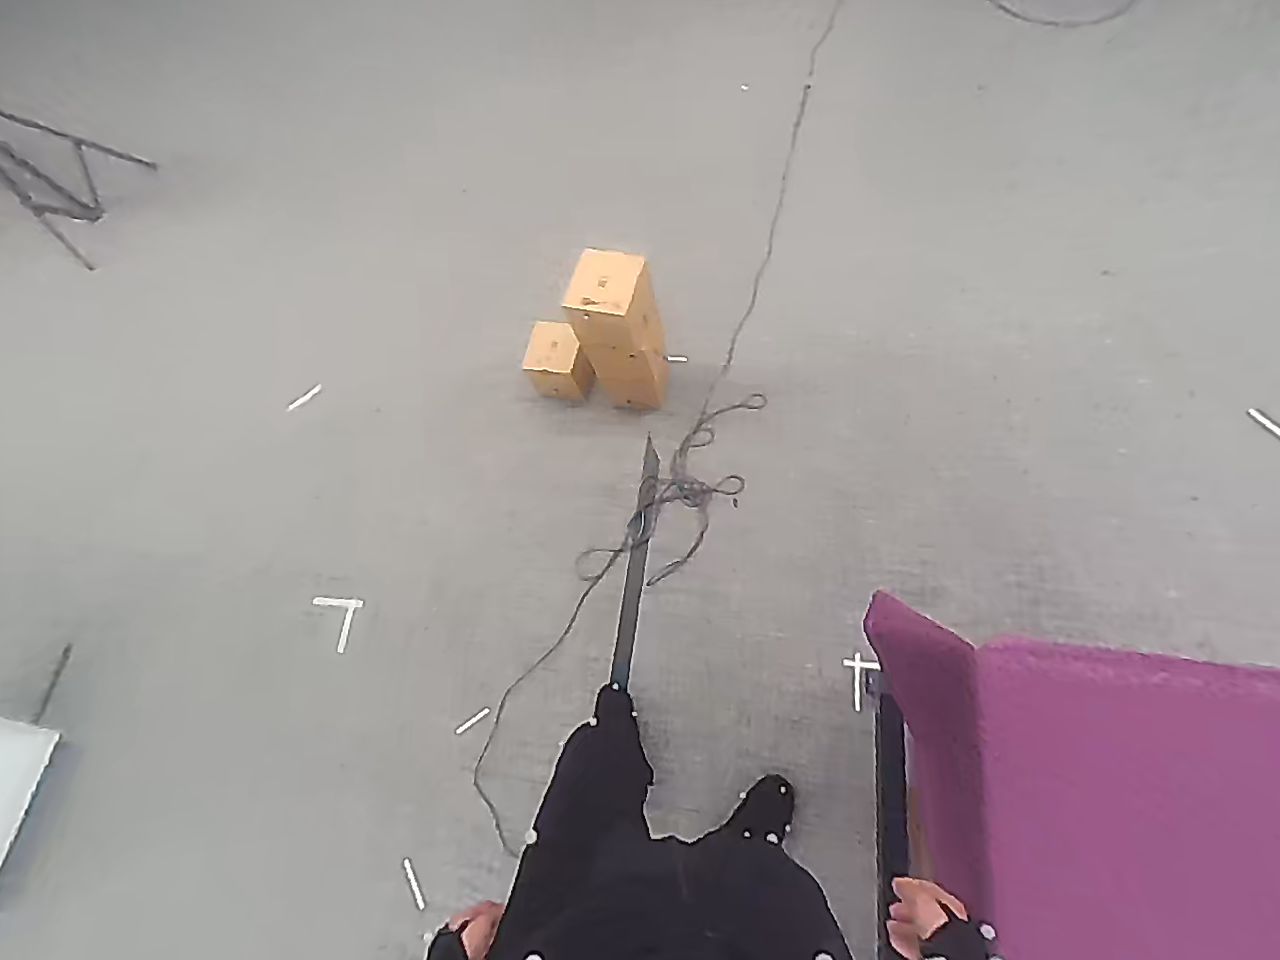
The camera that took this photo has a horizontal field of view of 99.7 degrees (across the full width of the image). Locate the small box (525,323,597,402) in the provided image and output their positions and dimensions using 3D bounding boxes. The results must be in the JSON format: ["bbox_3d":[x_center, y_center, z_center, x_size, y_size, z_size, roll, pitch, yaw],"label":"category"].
[{"bbox_3d":[-0.241,-0.373,1.724,0.168,0.176,0.179,10,72,14],"label":"small box"}]

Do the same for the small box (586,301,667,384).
[{"bbox_3d":[-0.032,-0.384,1.517,0.179,0.176,0.168,7,71,13],"label":"small box"}]

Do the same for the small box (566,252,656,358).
[{"bbox_3d":[-0.064,-0.439,1.365,0.168,0.176,0.179,14,72,15],"label":"small box"}]

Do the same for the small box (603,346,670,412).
[{"bbox_3d":[-0.005,-0.330,1.667,0.168,0.176,0.179,5,71,13],"label":"small box"}]
